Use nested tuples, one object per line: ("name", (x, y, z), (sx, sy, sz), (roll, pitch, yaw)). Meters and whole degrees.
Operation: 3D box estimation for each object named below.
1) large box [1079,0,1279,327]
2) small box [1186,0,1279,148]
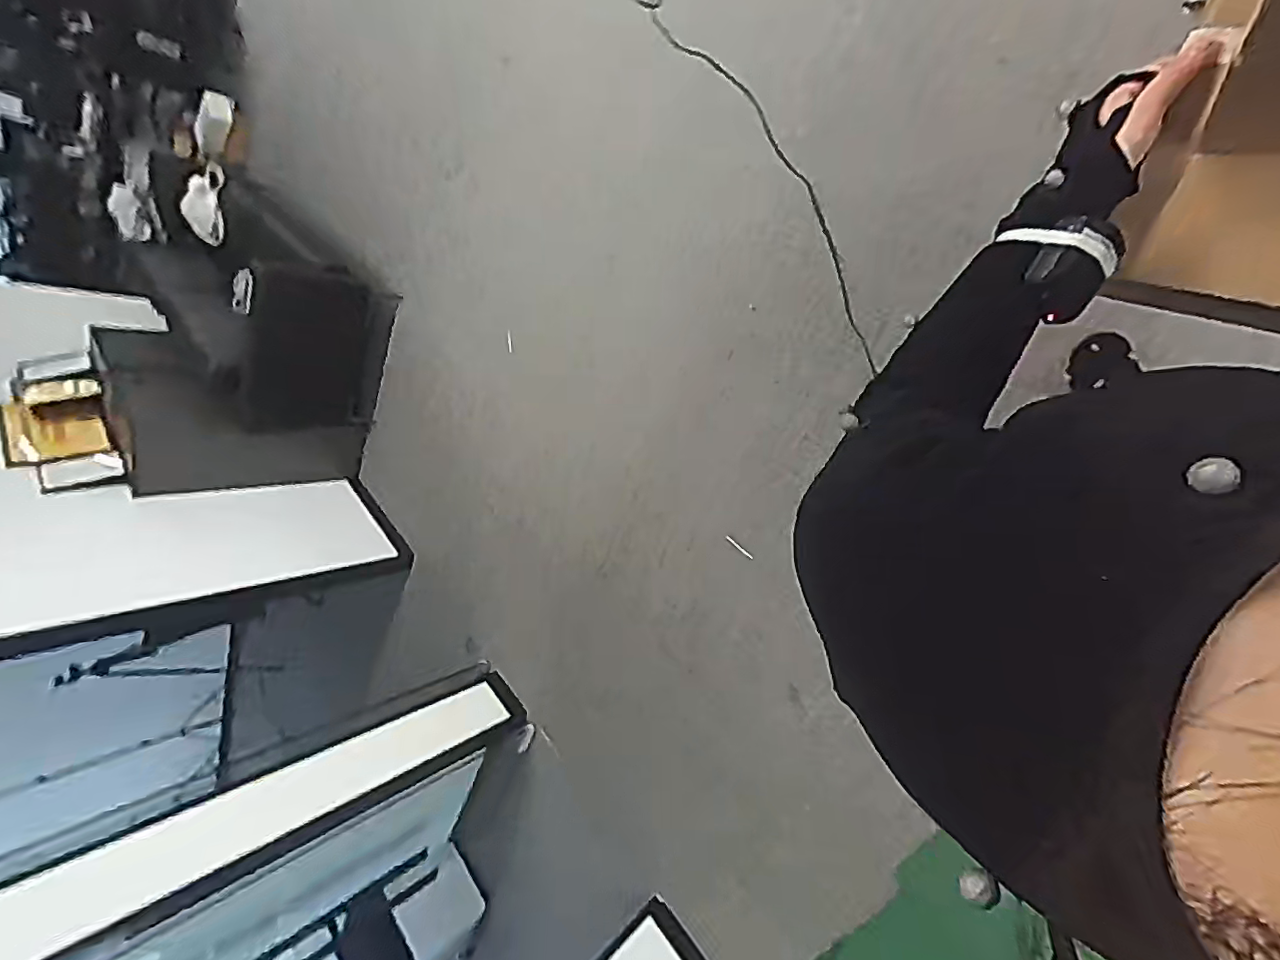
("large box", (0.640, -0.270, 0.408), (0.408, 0.320, 0.320), (28, 119, 32))
("small box", (0.425, -0.276, 0.264), (0.179, 0.176, 0.168), (25, 115, 35))
